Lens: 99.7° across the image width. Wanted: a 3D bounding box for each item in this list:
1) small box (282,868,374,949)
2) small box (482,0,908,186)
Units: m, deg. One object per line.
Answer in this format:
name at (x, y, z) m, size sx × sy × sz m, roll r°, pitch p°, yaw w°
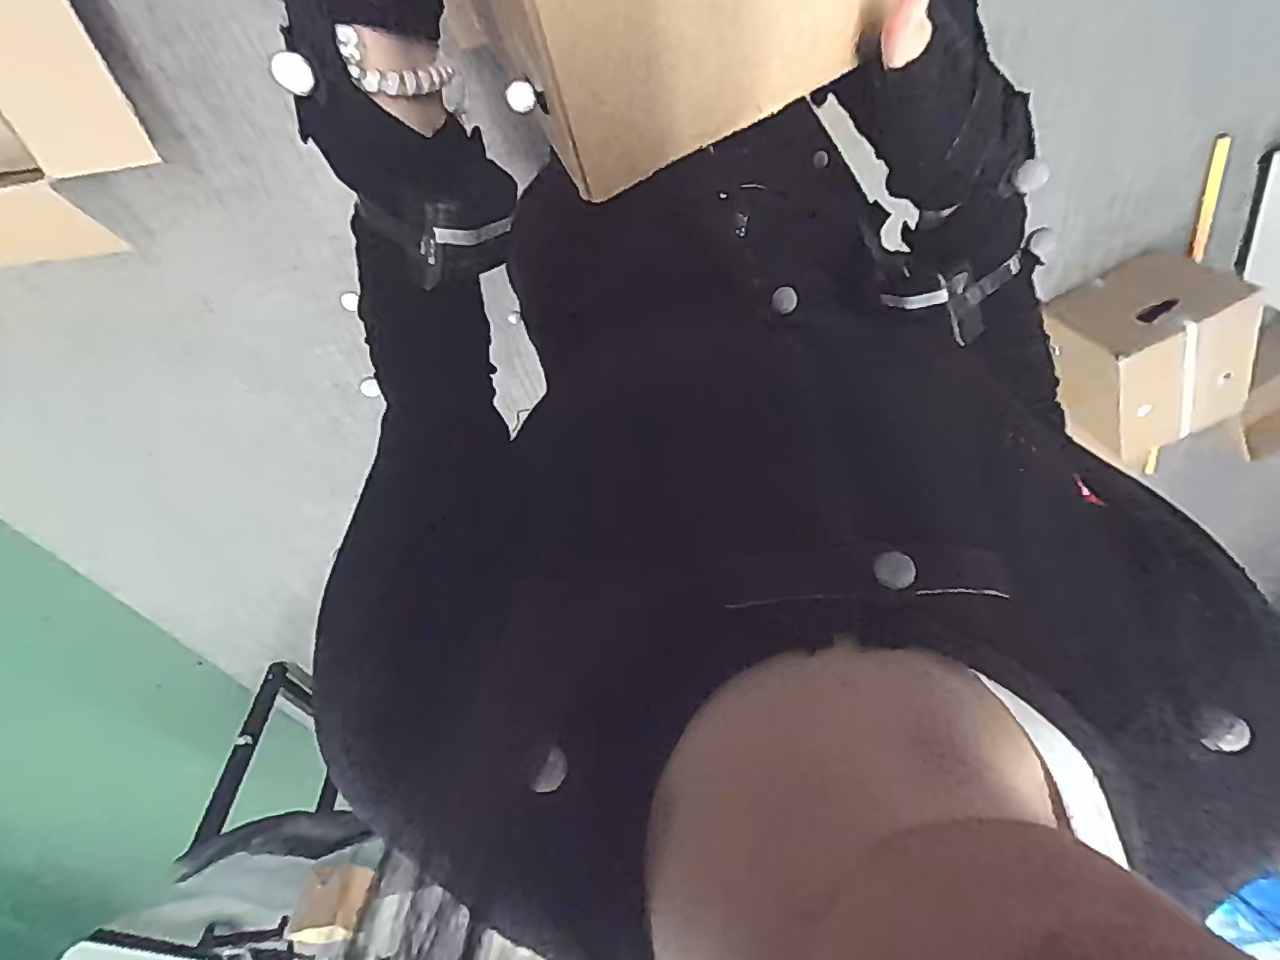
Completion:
small box at (-0.986, 1.369, 1.731) m, size 0.168 × 0.176 × 0.179 m, roll -16°, pitch 131°, yaw 4°
small box at (0.003, -0.267, 0.201) m, size 0.168 × 0.176 × 0.179 m, roll -29°, pitch 162°, yaw -2°
